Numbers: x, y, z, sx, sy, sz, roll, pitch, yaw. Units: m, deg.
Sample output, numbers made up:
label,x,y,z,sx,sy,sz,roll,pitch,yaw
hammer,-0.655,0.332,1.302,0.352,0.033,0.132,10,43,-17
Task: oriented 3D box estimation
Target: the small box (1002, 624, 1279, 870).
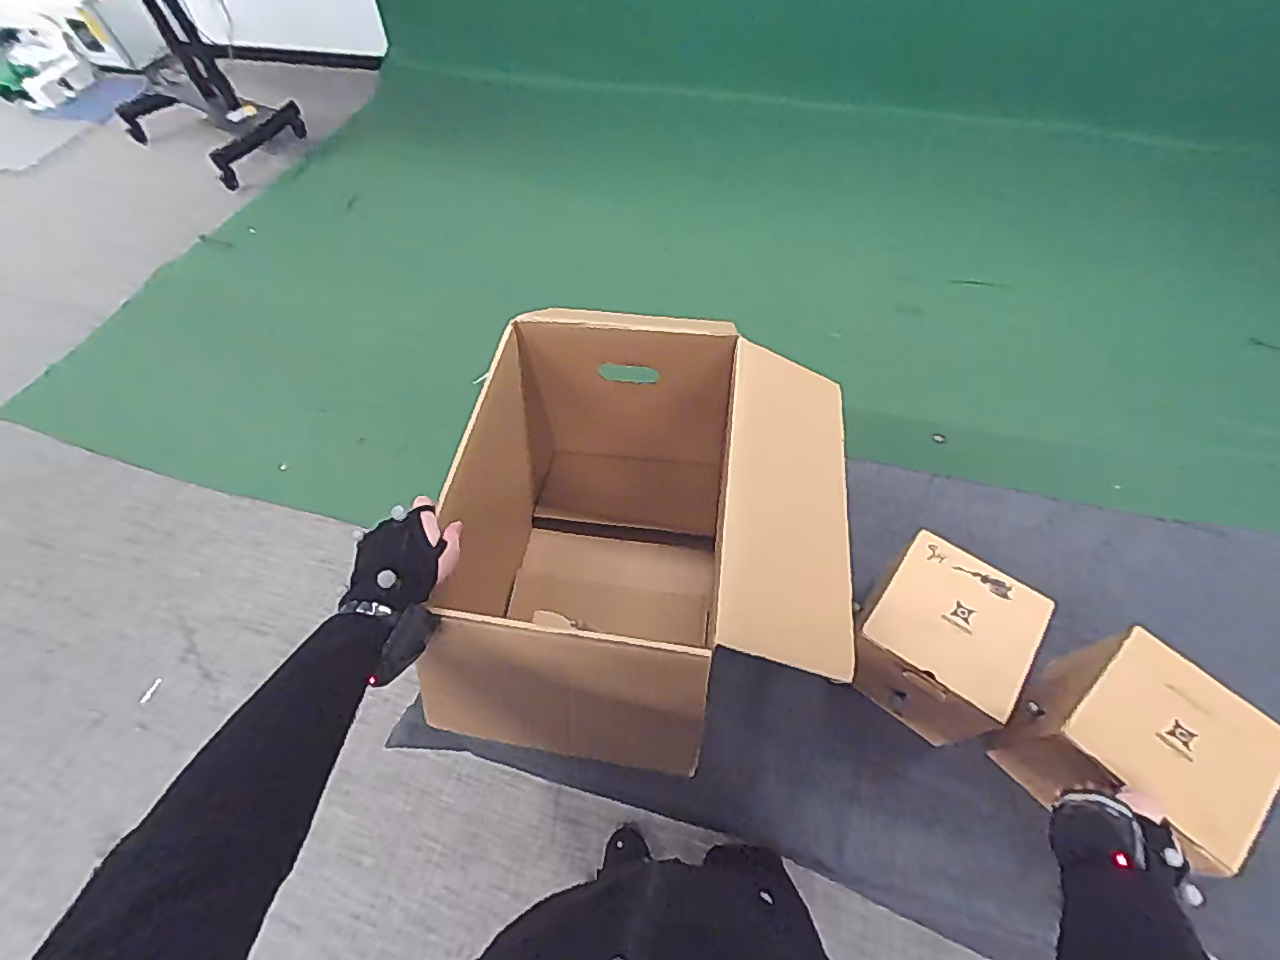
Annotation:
label,x,y,z,sx,sy,sz,roll,pitch,yaw
small box,0.566,0.306,0.626,0.179,0.176,0.168,-38,64,-20
